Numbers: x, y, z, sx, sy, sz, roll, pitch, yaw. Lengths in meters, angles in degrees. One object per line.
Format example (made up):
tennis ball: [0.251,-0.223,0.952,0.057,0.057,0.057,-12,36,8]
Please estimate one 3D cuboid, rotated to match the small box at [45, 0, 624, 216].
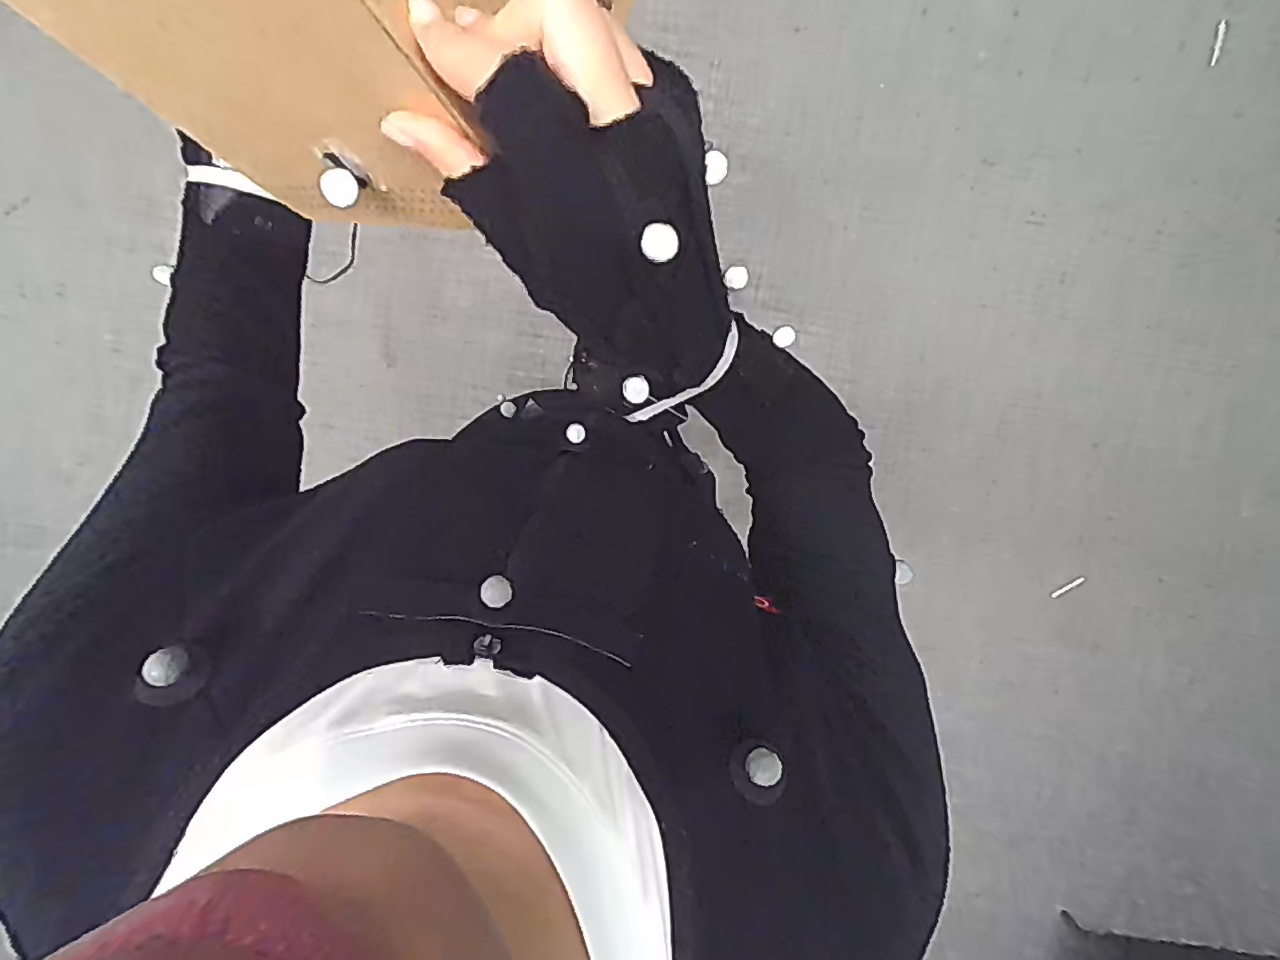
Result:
small box: [-0.120,-0.235,0.224,0.179,0.176,0.168,15,83,23]
